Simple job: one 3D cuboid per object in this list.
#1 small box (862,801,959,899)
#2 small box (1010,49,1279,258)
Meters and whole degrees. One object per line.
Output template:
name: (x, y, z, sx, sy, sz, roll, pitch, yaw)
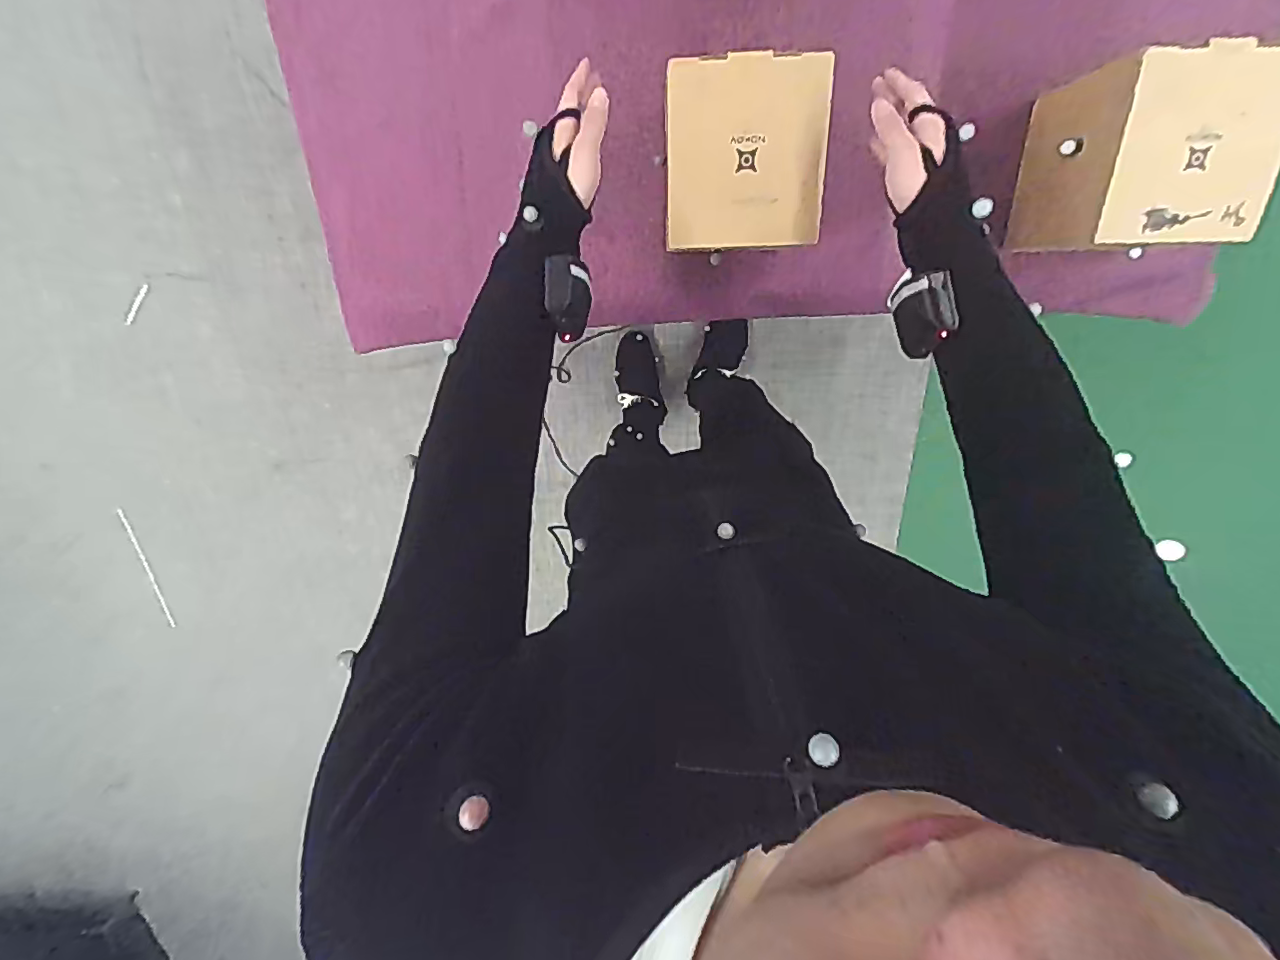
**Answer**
small box: (0.819, 1.125, 1.659, 0.179, 0.176, 0.168, 36, 109, -12)
small box: (0.568, -0.355, 0.621, 0.168, 0.176, 0.179, 0, 109, 3)
